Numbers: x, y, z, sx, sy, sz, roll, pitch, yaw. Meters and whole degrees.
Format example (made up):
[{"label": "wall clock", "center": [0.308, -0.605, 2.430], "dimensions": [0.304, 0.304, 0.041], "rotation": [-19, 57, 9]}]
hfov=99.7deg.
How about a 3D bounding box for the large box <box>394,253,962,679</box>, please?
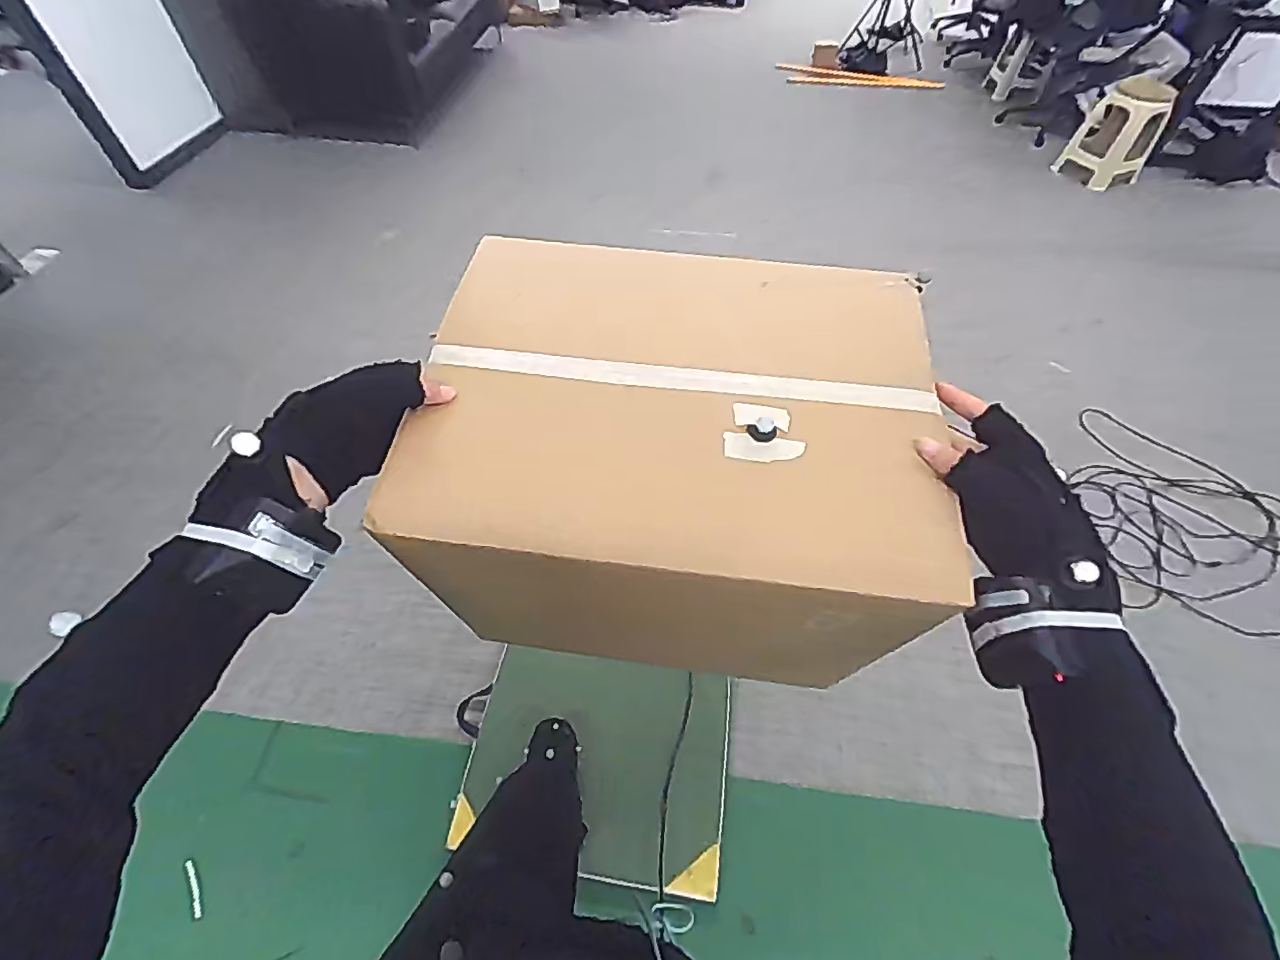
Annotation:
[{"label": "large box", "center": [0.034, 0.003, 0.574], "dimensions": [0.408, 0.320, 0.320], "rotation": [7, 60, 3]}]
